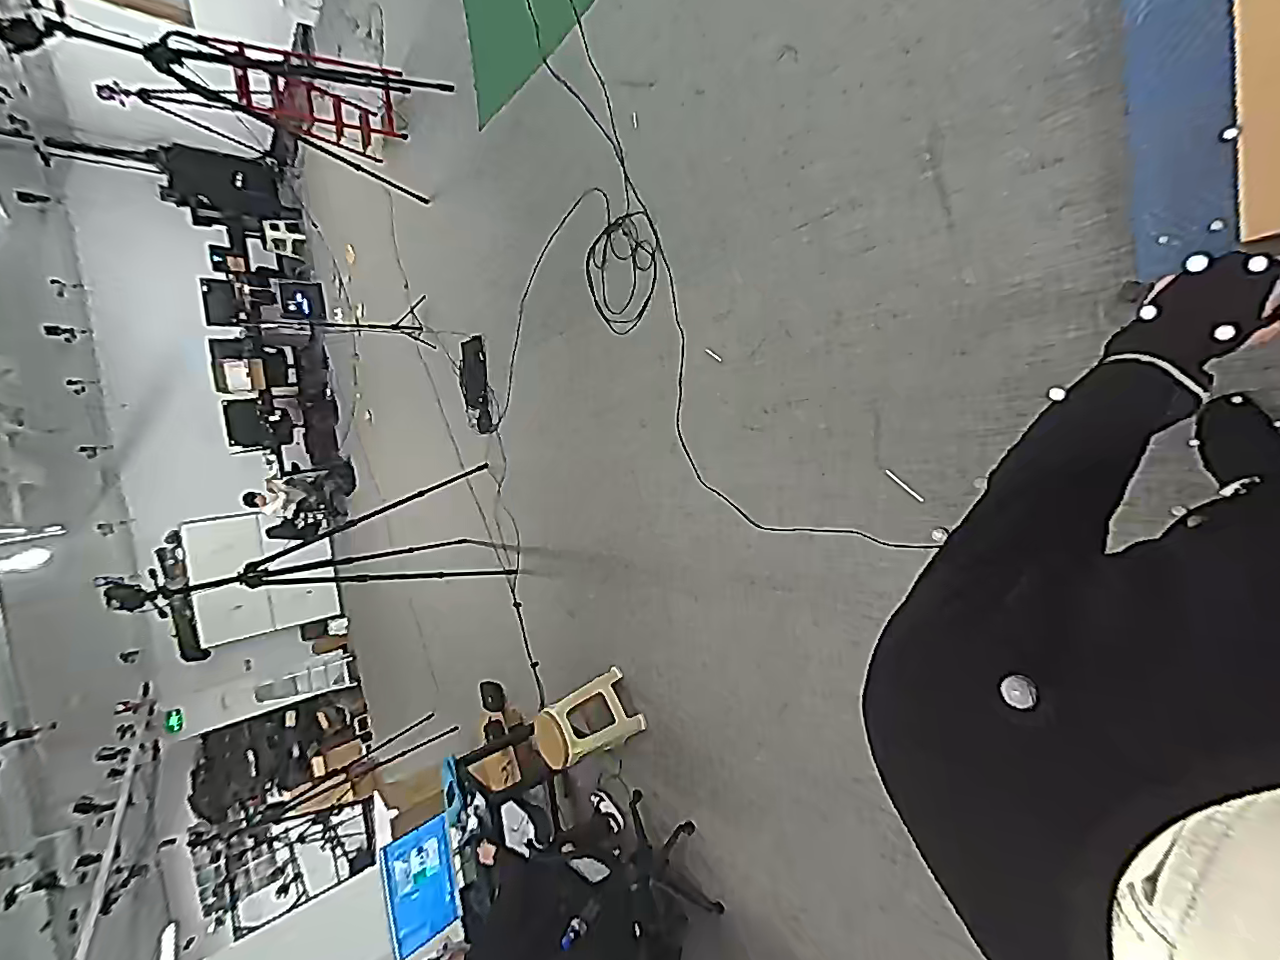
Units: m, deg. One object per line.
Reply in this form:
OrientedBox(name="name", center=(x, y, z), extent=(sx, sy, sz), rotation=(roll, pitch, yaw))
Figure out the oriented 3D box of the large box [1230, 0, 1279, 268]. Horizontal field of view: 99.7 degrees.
OrientedBox(name="large box", center=(1.052, -0.554, 0.737), extent=(0.320, 0.320, 0.408), rotation=(-1, 96, 49))
